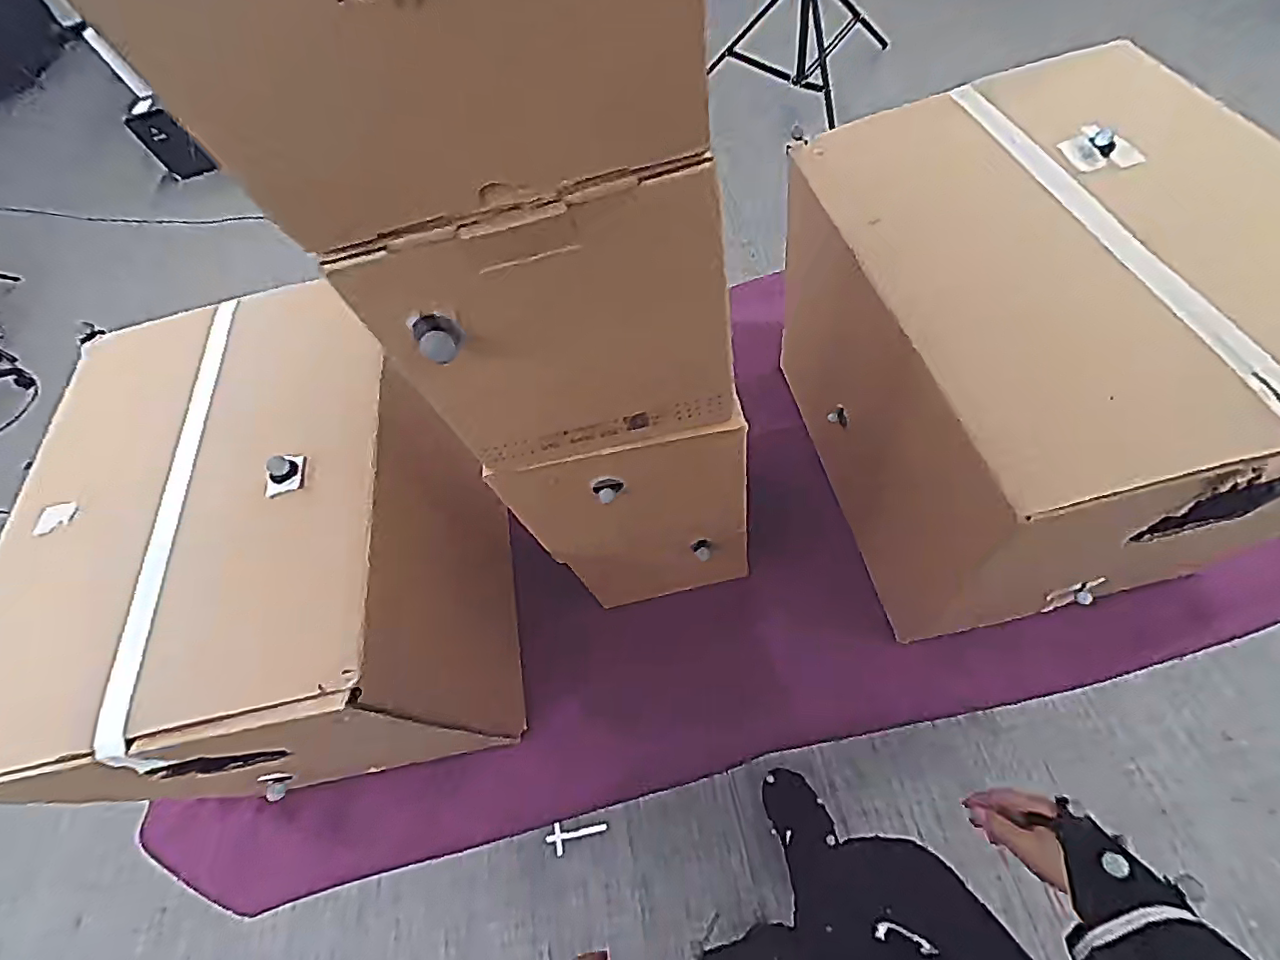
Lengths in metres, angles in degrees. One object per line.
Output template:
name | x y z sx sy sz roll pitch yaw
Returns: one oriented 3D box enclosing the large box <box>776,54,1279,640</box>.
large box | 0.345 -0.110 0.523 0.320 0.320 0.408 -15 58 3
